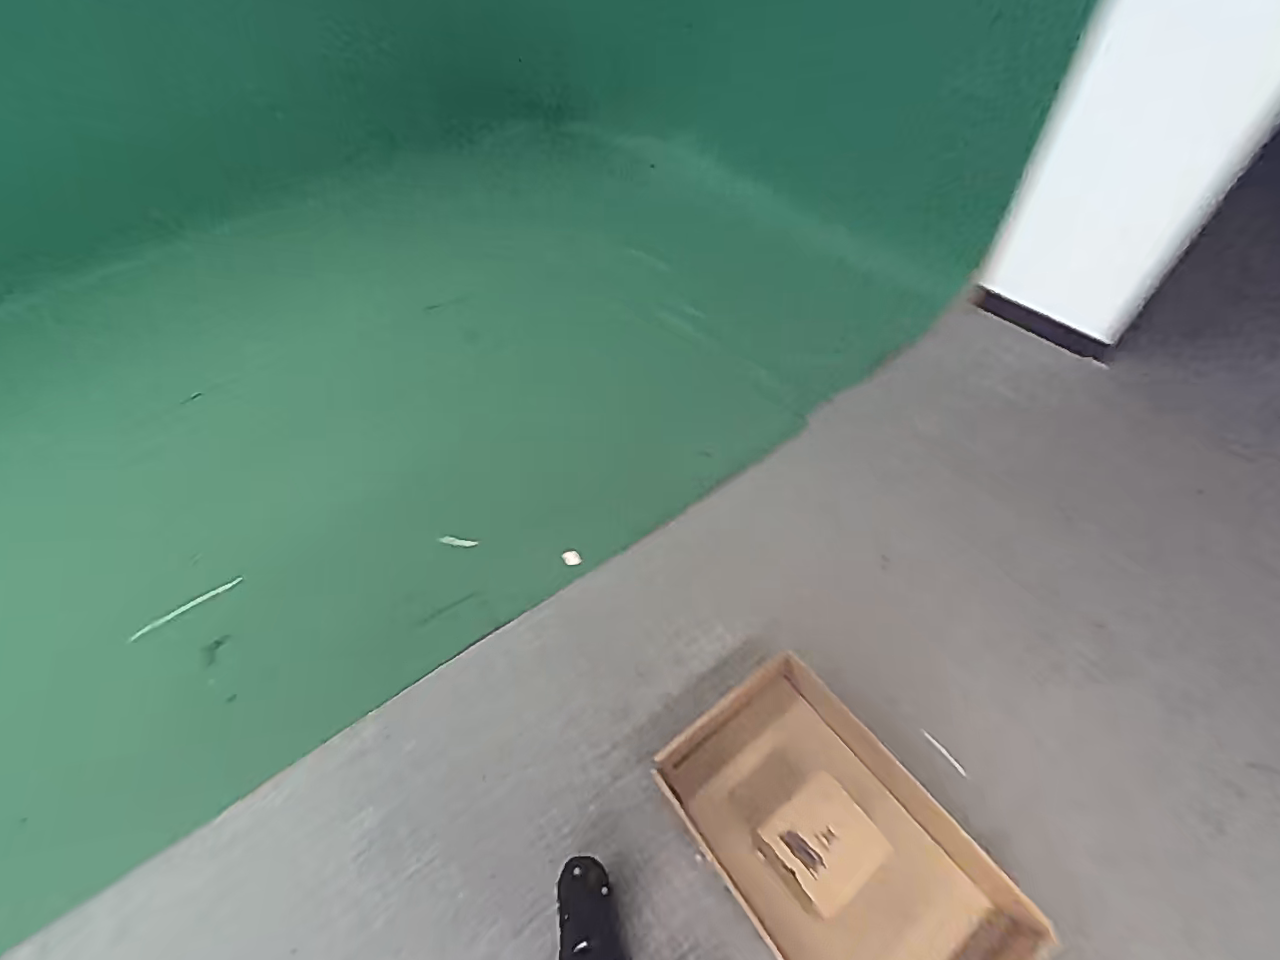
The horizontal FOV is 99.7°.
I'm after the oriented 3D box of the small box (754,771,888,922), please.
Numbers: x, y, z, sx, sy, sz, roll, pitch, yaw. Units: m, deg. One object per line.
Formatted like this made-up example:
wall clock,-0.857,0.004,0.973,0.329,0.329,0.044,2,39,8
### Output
small box,0.336,0.704,1.040,0.179,0.176,0.168,-32,56,-18
